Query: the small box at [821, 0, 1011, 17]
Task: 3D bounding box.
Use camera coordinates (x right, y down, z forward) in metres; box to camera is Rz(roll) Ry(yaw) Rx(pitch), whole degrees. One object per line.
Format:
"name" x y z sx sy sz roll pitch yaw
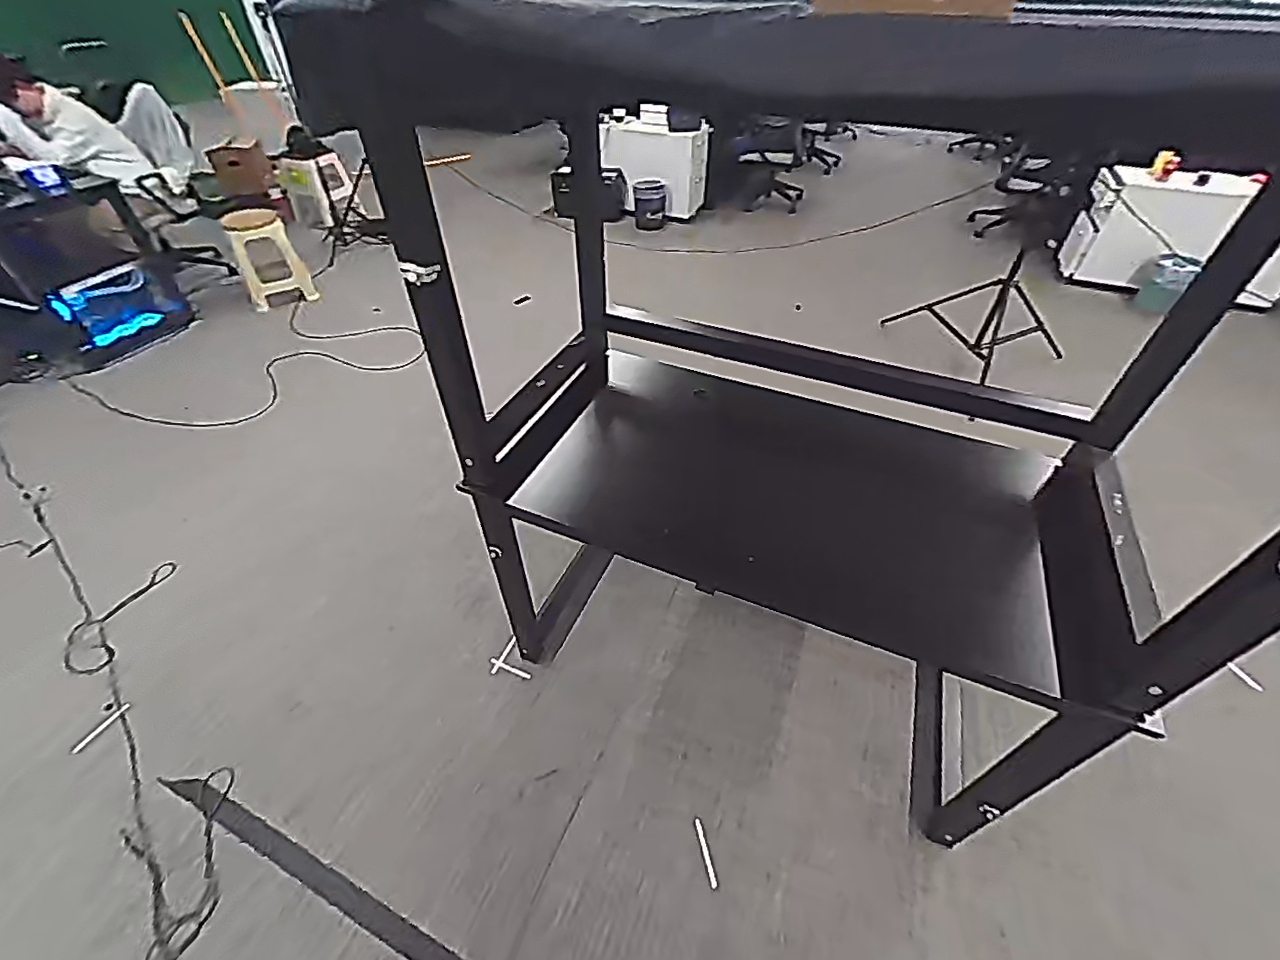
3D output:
"small box" 0.269 -0.524 0.480 0.168 0.176 0.179 17 44 16
